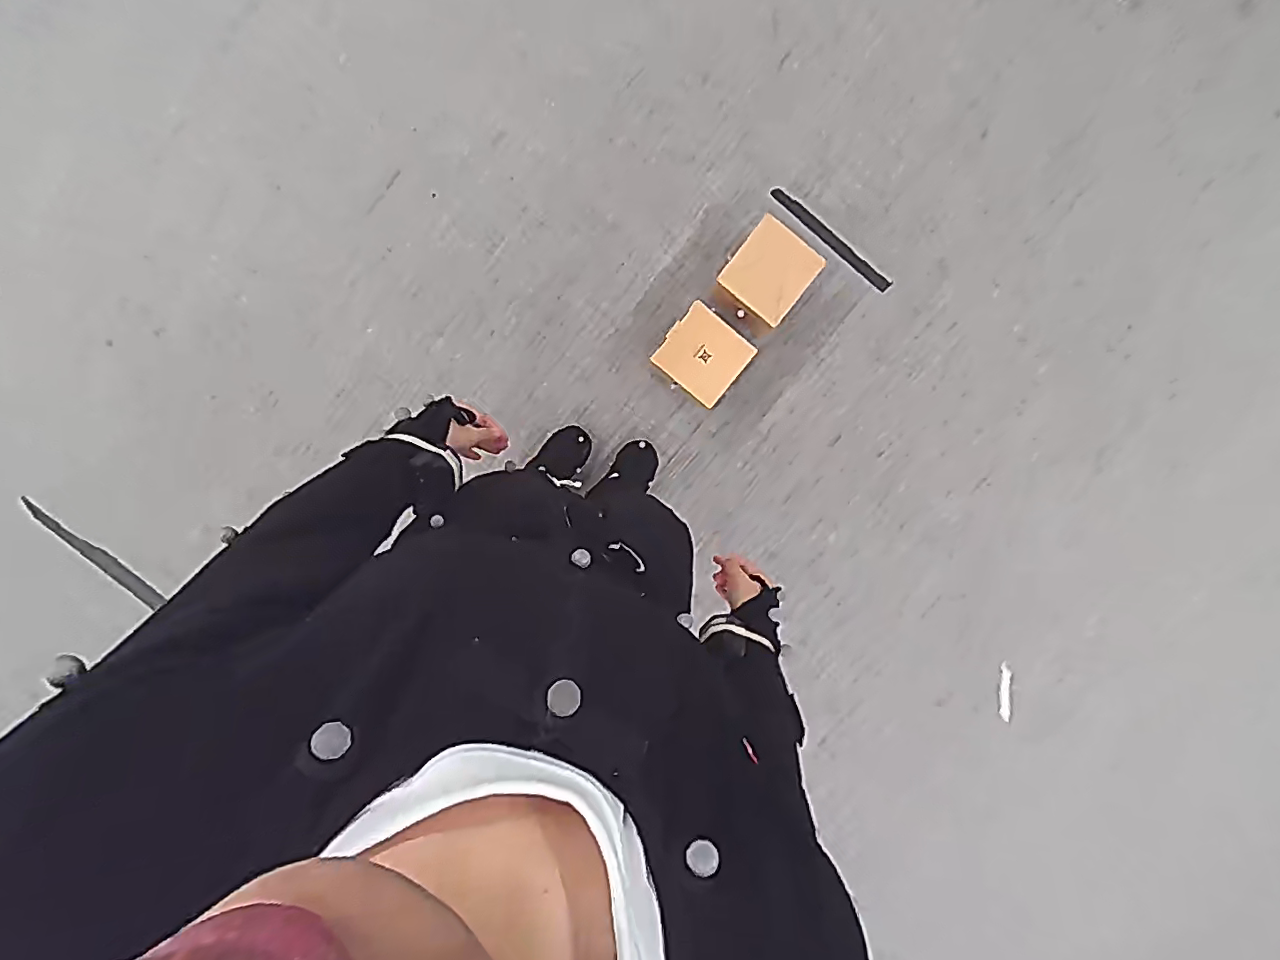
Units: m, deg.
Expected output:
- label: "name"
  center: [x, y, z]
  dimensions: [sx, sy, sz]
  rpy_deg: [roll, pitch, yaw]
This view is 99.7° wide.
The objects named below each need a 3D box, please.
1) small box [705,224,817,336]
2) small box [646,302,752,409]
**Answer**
- label: "small box"
  center: [0.274, -0.456, 1.237]
  dimensions: [0.168, 0.176, 0.179]
  rpy_deg: [38, 96, -4]
- label: "small box"
  center: [0.133, -0.284, 1.266]
  dimensions: [0.179, 0.176, 0.168]
  rpy_deg: [39, 96, -4]
